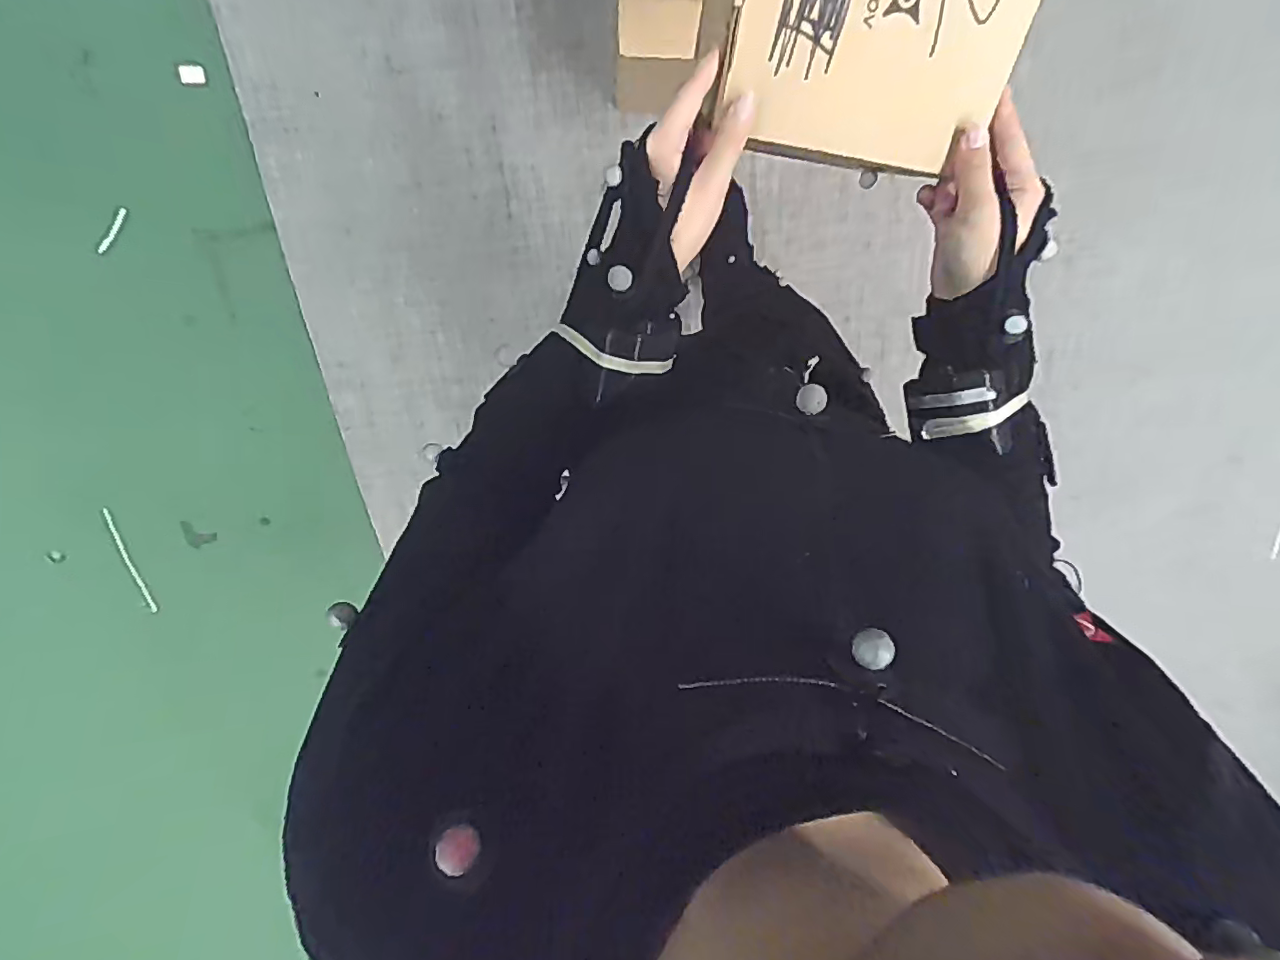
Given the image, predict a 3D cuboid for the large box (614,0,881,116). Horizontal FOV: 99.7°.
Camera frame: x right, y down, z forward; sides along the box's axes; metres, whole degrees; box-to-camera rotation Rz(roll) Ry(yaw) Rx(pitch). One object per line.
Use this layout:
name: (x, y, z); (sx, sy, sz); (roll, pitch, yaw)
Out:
large box: (0.159, -0.842, 0.924); (0.408, 0.320, 0.320); (-1, 112, -4)

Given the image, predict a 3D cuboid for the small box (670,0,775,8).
small box: (0.129, -0.750, 0.698); (0.179, 0.176, 0.168); (1, 109, -2)
